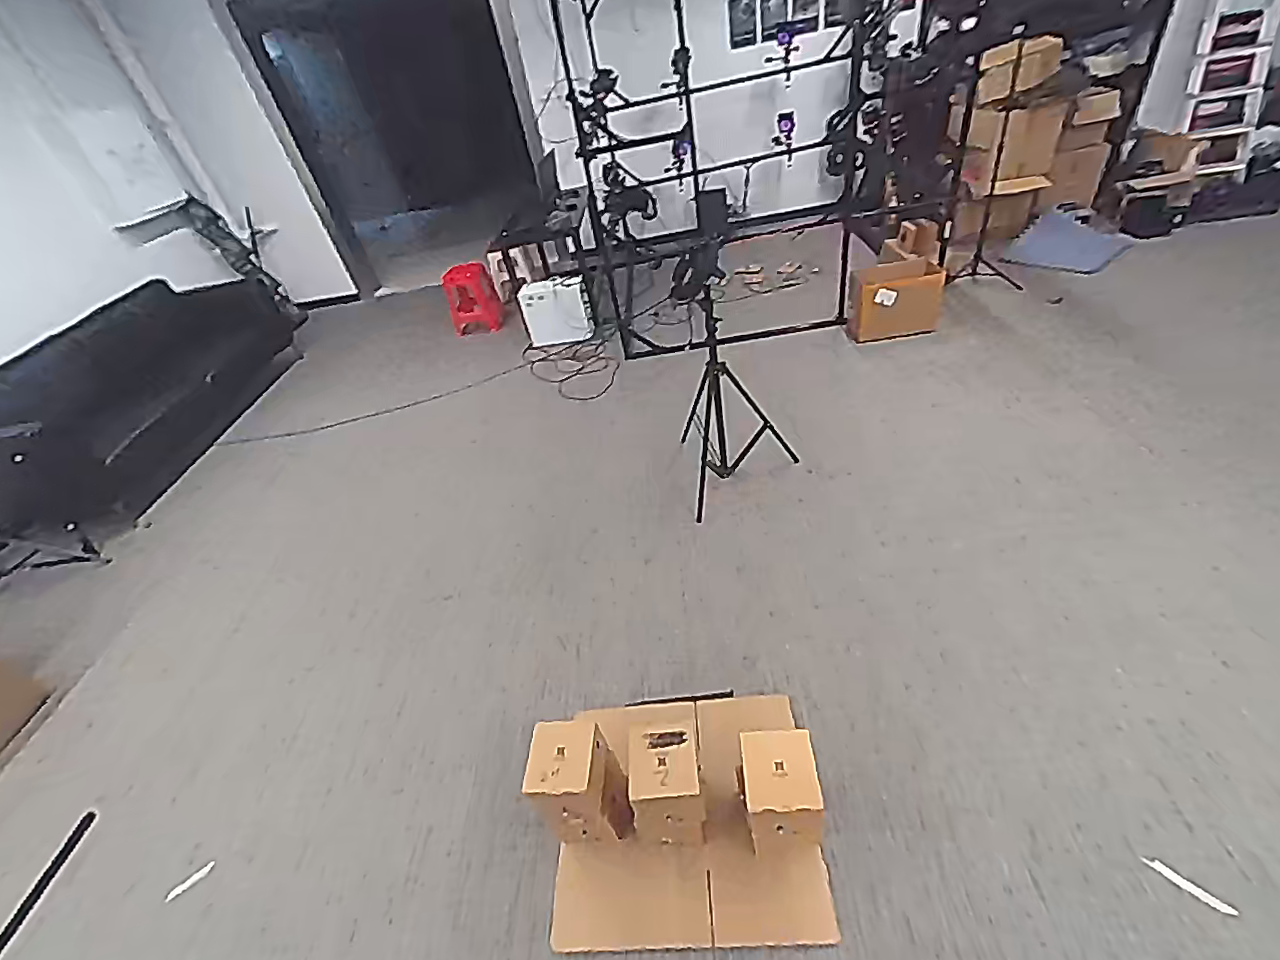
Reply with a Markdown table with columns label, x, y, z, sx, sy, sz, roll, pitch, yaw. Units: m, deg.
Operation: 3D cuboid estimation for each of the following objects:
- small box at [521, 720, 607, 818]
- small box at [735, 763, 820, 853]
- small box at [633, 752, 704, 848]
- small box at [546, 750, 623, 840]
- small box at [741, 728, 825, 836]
| label | x | y | z | sx | sy | sz | roll | pitch | yaw |
| --- | --- | --- | --- | --- | --- | --- | --- | --- | --- |
| small box | -0.184 | 0.741 | 1.388 | 0.168 | 0.176 | 0.179 | -6 | 40 | 10 |
| small box | 0.355 | 0.830 | 1.391 | 0.179 | 0.176 | 0.168 | -13 | 39 | 0 |
| small box | 0.081 | 0.851 | 1.443 | 0.168 | 0.176 | 0.179 | -5 | 40 | 9 |
| small box | -0.144 | 0.869 | 1.485 | 0.168 | 0.176 | 0.179 | -7 | 40 | 9 |
| small box | 0.331 | 0.715 | 1.279 | 0.168 | 0.176 | 0.179 | -7 | 40 | 7 |
